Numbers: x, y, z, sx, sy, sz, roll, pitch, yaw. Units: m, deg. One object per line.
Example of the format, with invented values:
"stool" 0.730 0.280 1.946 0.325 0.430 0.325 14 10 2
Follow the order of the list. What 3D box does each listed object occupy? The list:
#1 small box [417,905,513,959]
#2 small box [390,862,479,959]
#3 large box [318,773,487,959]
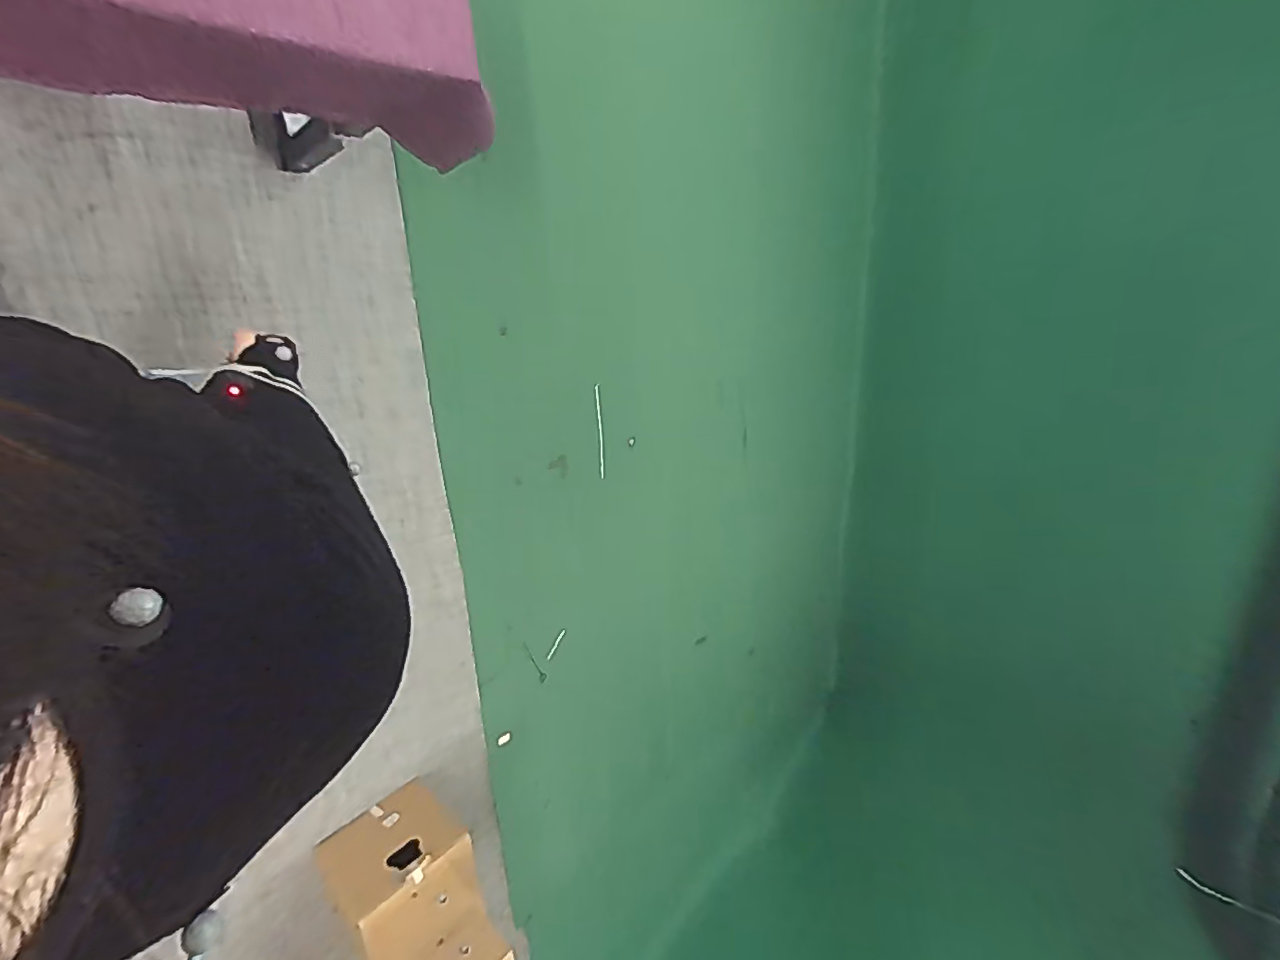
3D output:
"small box" -0.423 1.192 1.315 0.168 0.176 0.179 -19 115 -44
"small box" -0.539 1.162 1.430 0.168 0.176 0.179 -19 115 -44
"large box" -0.706 1.199 1.625 0.320 0.320 0.408 -22 117 -43
